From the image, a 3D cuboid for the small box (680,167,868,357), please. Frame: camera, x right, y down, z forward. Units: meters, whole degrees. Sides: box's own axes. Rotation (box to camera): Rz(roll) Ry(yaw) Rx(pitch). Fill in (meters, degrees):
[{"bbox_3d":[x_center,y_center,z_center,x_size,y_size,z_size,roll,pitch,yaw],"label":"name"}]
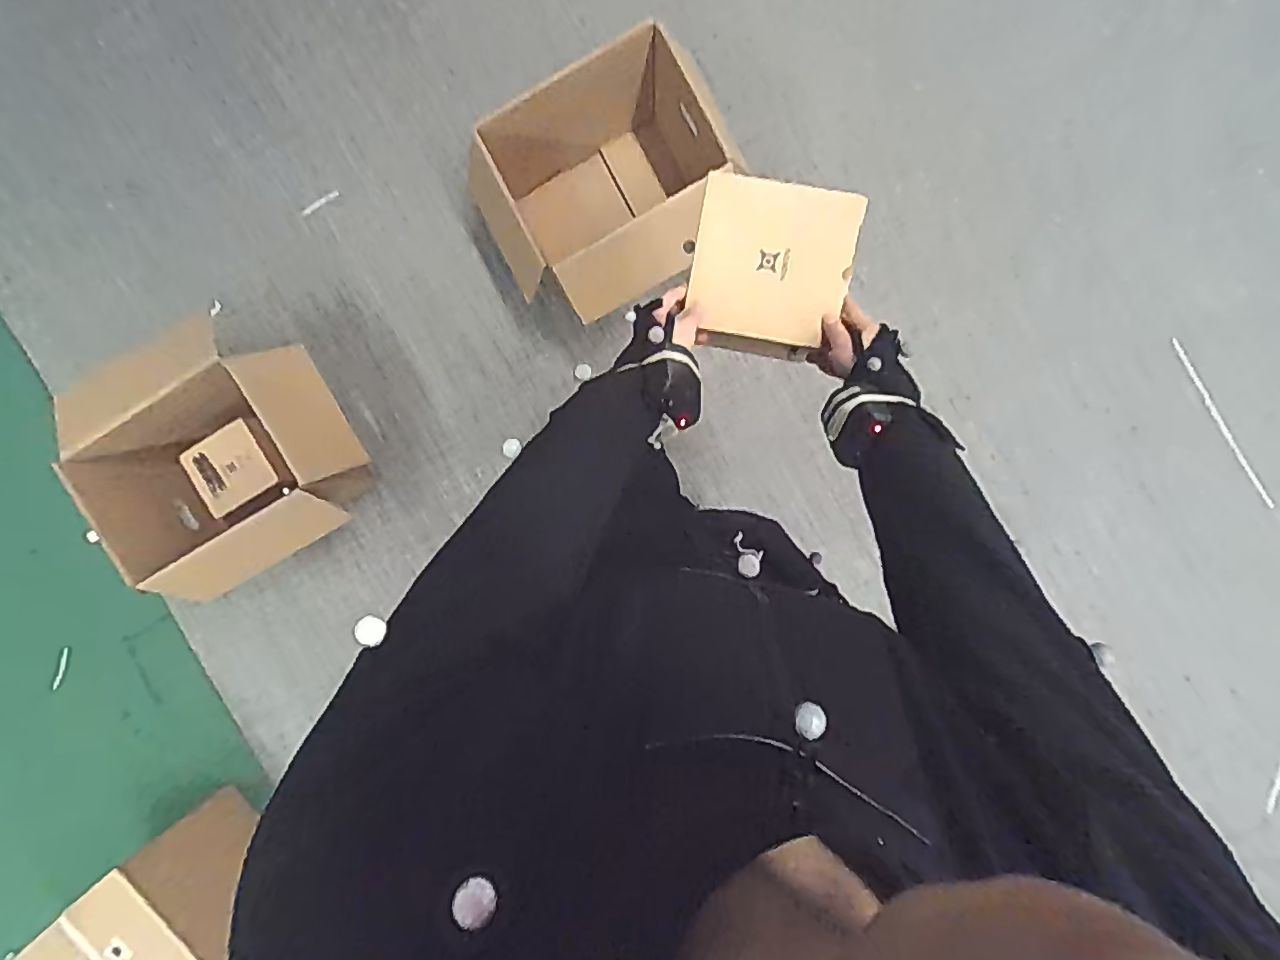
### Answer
[{"bbox_3d":[0.147,-0.251,0.665,0.179,0.176,0.168,10,98,1],"label":"small box"}]
